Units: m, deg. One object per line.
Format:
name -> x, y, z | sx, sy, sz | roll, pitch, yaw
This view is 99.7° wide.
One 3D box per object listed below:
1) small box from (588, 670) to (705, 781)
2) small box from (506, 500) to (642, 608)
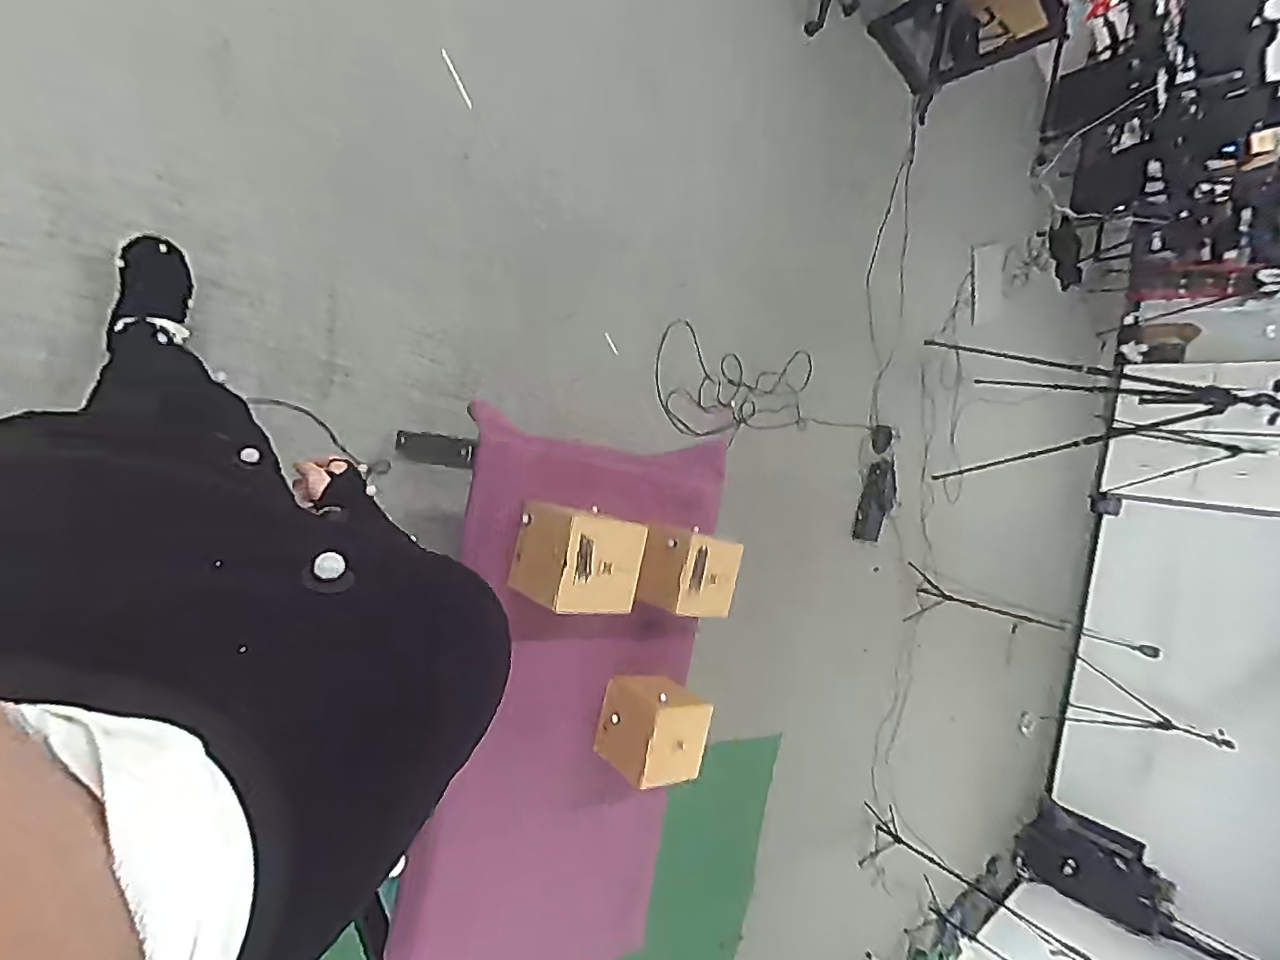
small box -> 0.013, 0.540, 1.218 | 0.179, 0.176, 0.168 | 15, 88, -40
small box -> -0.128, 0.136, 1.019 | 0.179, 0.176, 0.168 | 13, 89, -43
